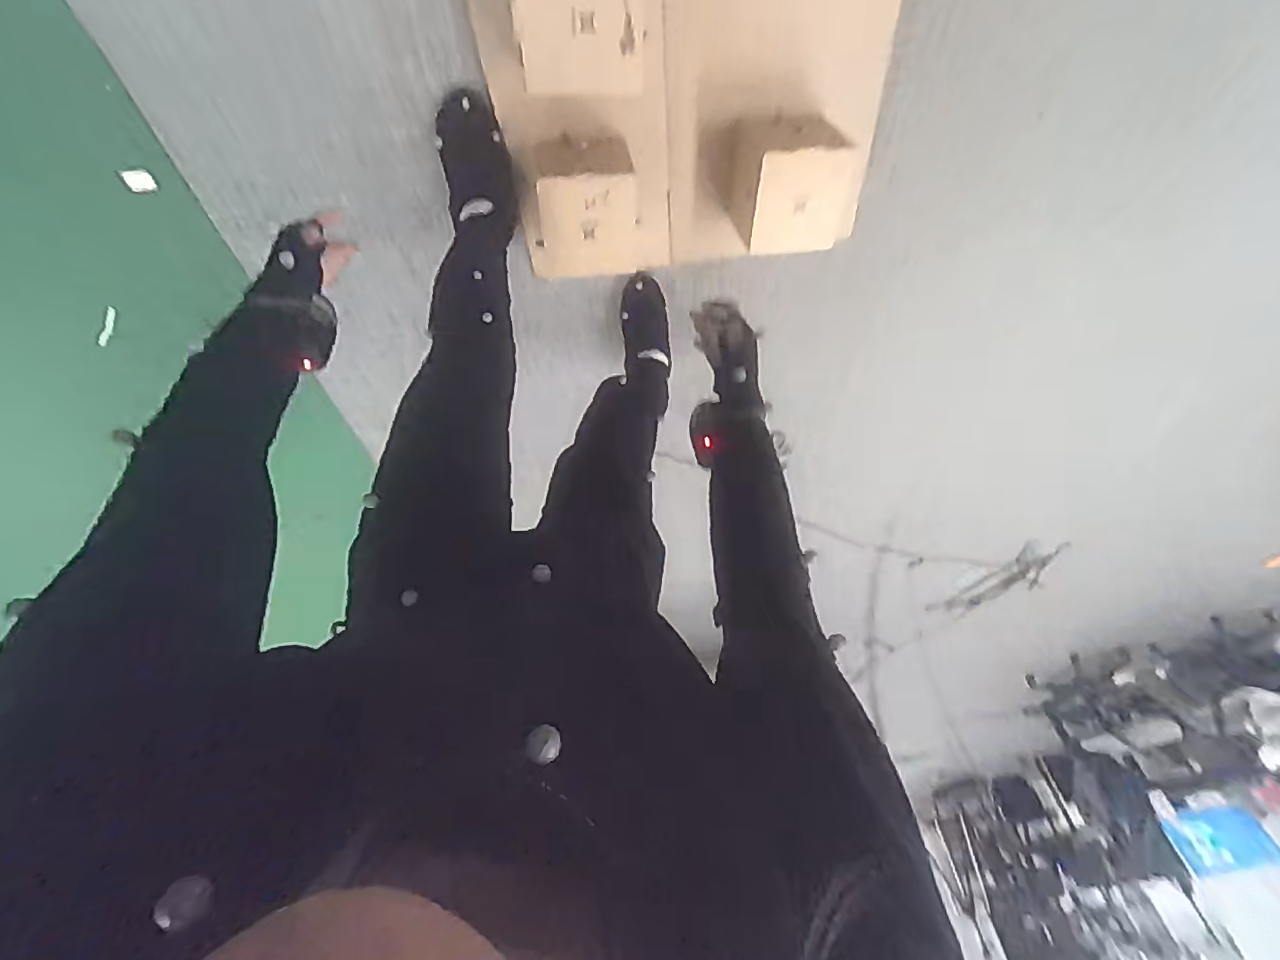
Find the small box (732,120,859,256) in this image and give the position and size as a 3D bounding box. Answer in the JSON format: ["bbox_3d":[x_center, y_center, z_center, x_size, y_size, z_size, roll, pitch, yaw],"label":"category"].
[{"bbox_3d":[0.275,-0.542,1.004,0.168,0.176,0.179,-6,138,-5],"label":"small box"}]

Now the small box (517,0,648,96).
[{"bbox_3d":[-0.085,-0.678,0.786,0.179,0.176,0.168,-4,138,-6],"label":"small box"}]

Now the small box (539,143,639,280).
[{"bbox_3d":[-0.093,-0.492,0.993,0.168,0.176,0.179,-6,138,-5],"label":"small box"}]
